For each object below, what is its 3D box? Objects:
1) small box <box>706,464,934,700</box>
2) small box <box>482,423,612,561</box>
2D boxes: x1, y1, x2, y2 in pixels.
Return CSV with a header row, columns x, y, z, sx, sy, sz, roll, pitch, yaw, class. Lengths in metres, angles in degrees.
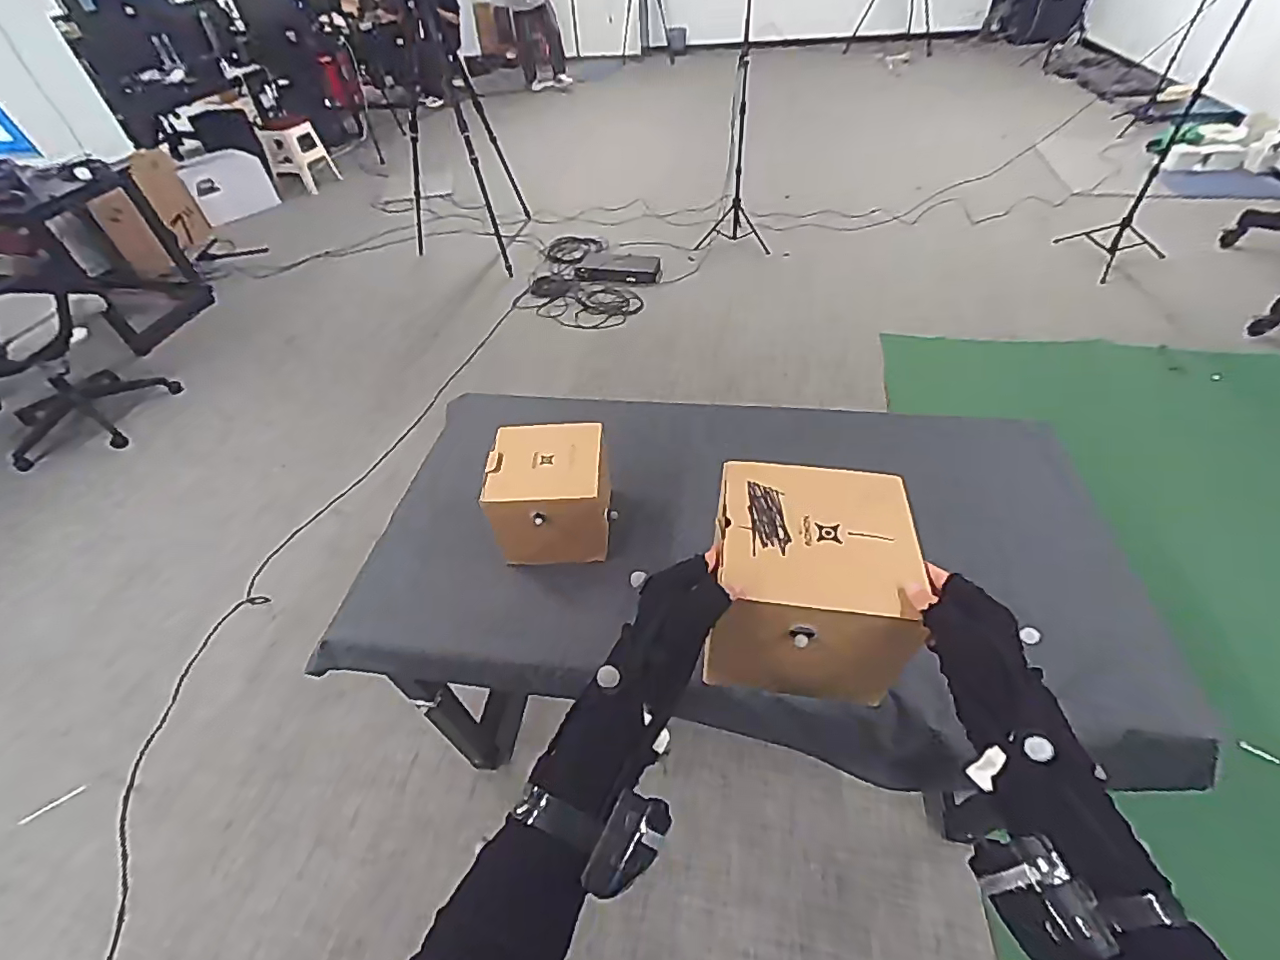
x,y,z,sx,sy,sz,roll,pitch,yaw,class
0.163,0.105,0.550,0.179,0.176,0.168,6,47,6,small box
-0.143,0.023,0.903,0.179,0.176,0.168,-2,48,1,small box
